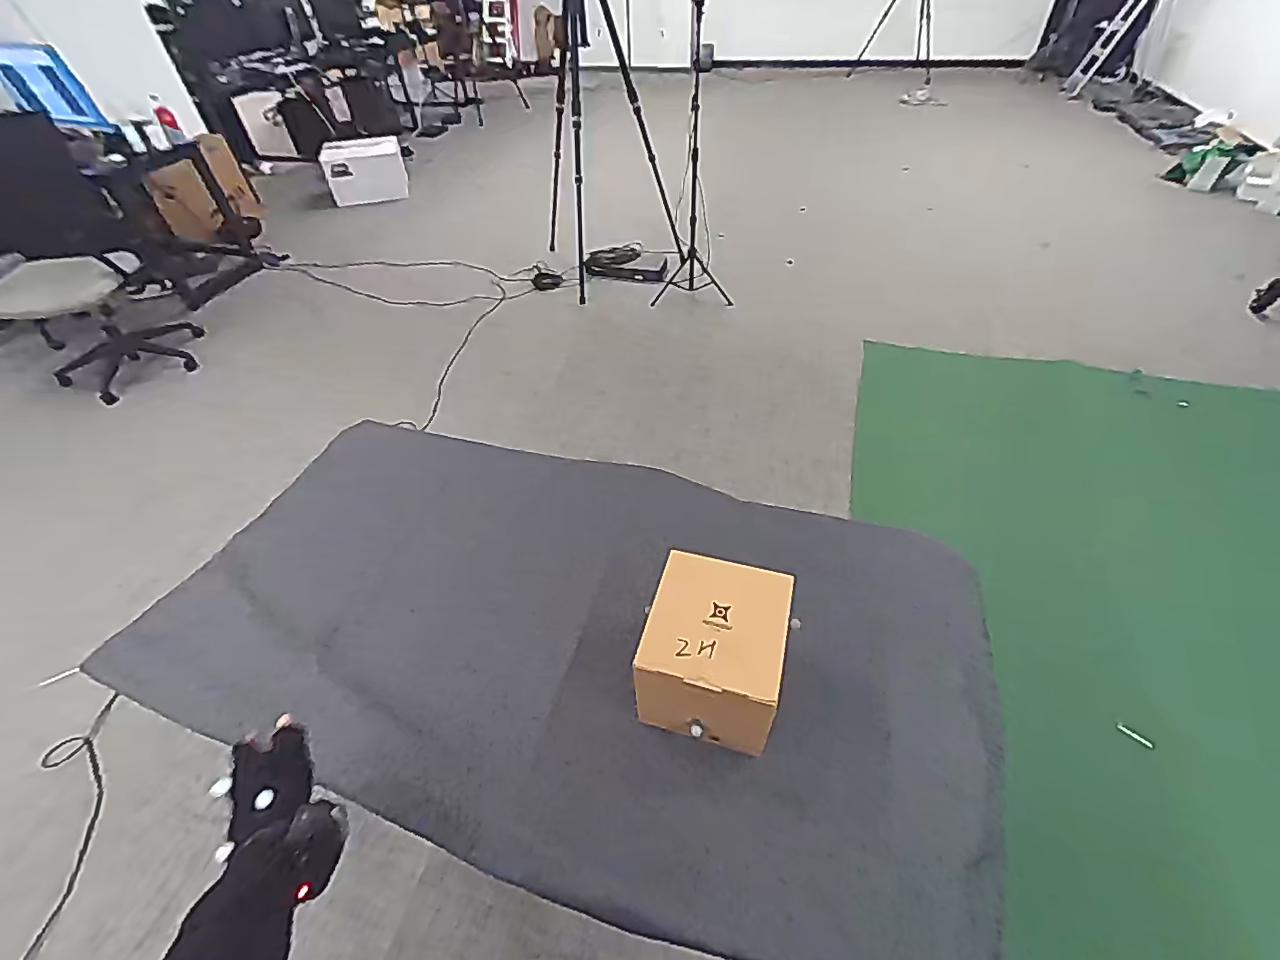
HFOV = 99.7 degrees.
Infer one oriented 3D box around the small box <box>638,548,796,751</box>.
[{"bbox_3d":[0.101,0.222,0.715,0.168,0.176,0.179,11,47,14],"label":"small box"}]
